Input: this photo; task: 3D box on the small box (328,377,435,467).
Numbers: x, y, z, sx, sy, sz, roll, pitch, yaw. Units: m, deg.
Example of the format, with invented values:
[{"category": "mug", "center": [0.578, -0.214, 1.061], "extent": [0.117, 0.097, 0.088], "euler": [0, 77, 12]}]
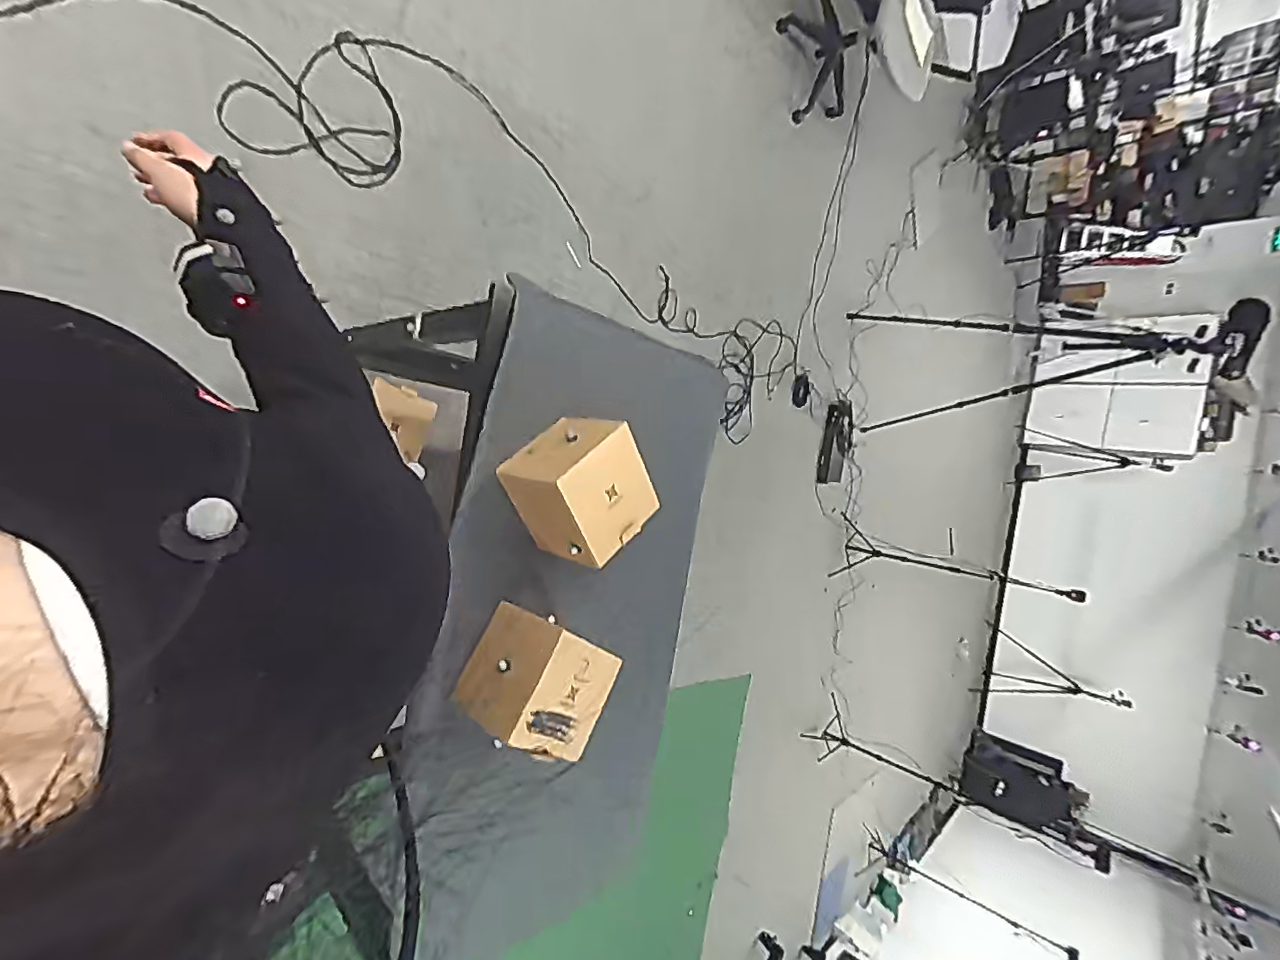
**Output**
[{"category": "small box", "center": [-0.654, -0.145, 1.361], "extent": [0.168, 0.176, 0.179], "euler": [26, 77, -46]}]

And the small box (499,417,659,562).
[{"category": "small box", "center": [-0.102, 0.008, 0.904], "extent": [0.168, 0.176, 0.179], "euler": [-45, 127, -33]}]
